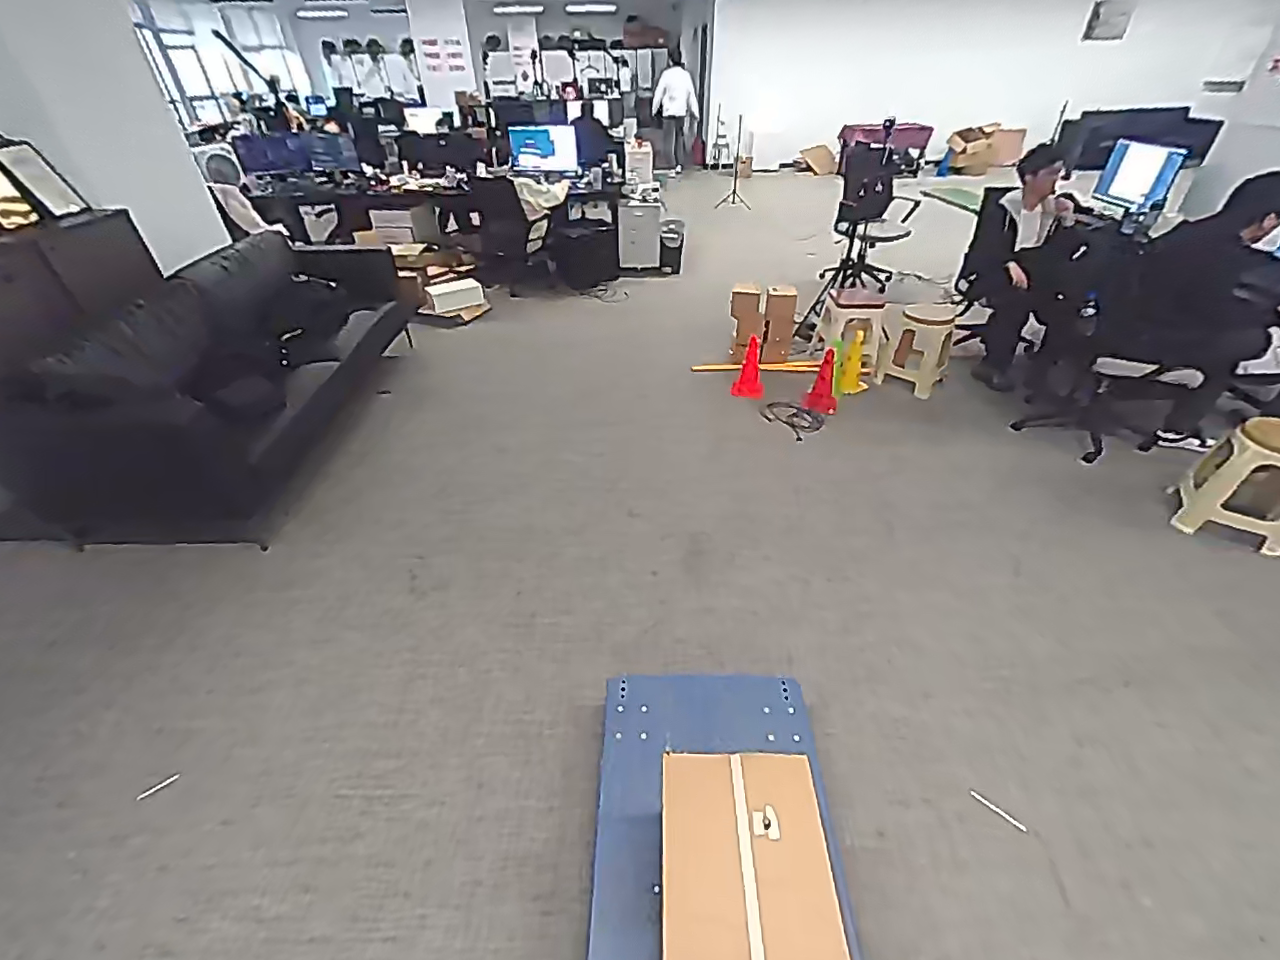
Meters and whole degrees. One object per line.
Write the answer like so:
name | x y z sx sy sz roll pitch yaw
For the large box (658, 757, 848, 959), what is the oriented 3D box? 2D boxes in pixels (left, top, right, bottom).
large box | 0.198 0.839 1.097 0.320 0.320 0.408 0 37 1
